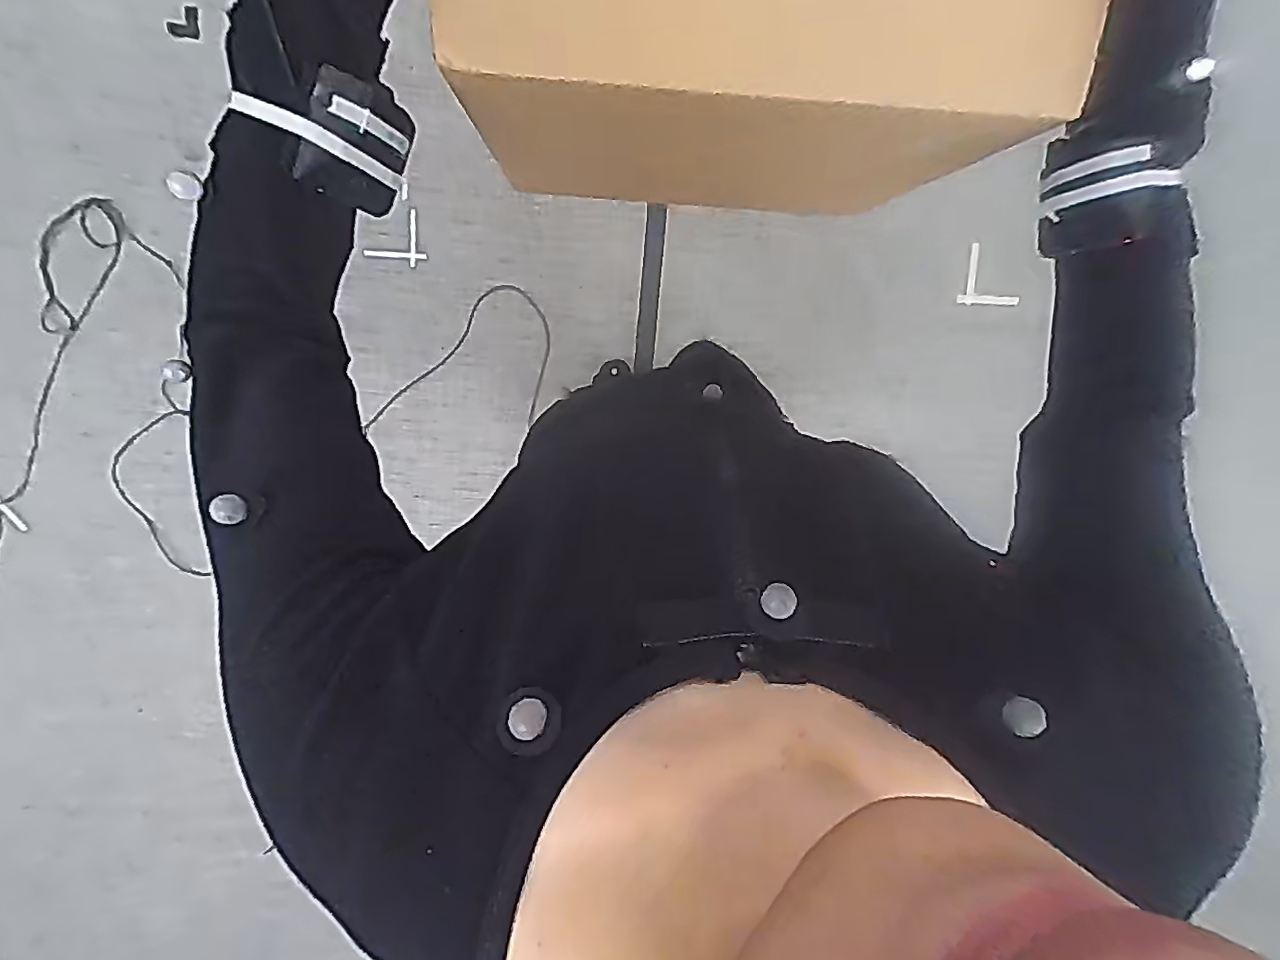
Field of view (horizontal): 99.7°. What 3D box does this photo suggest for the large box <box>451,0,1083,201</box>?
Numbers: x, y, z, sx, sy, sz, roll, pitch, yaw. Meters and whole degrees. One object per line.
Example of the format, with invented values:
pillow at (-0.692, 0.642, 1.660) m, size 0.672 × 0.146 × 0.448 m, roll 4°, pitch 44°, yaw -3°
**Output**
large box at (0.073, -0.437, 0.445) m, size 0.408 × 0.320 × 0.320 m, roll 0°, pitch 106°, yaw -5°
